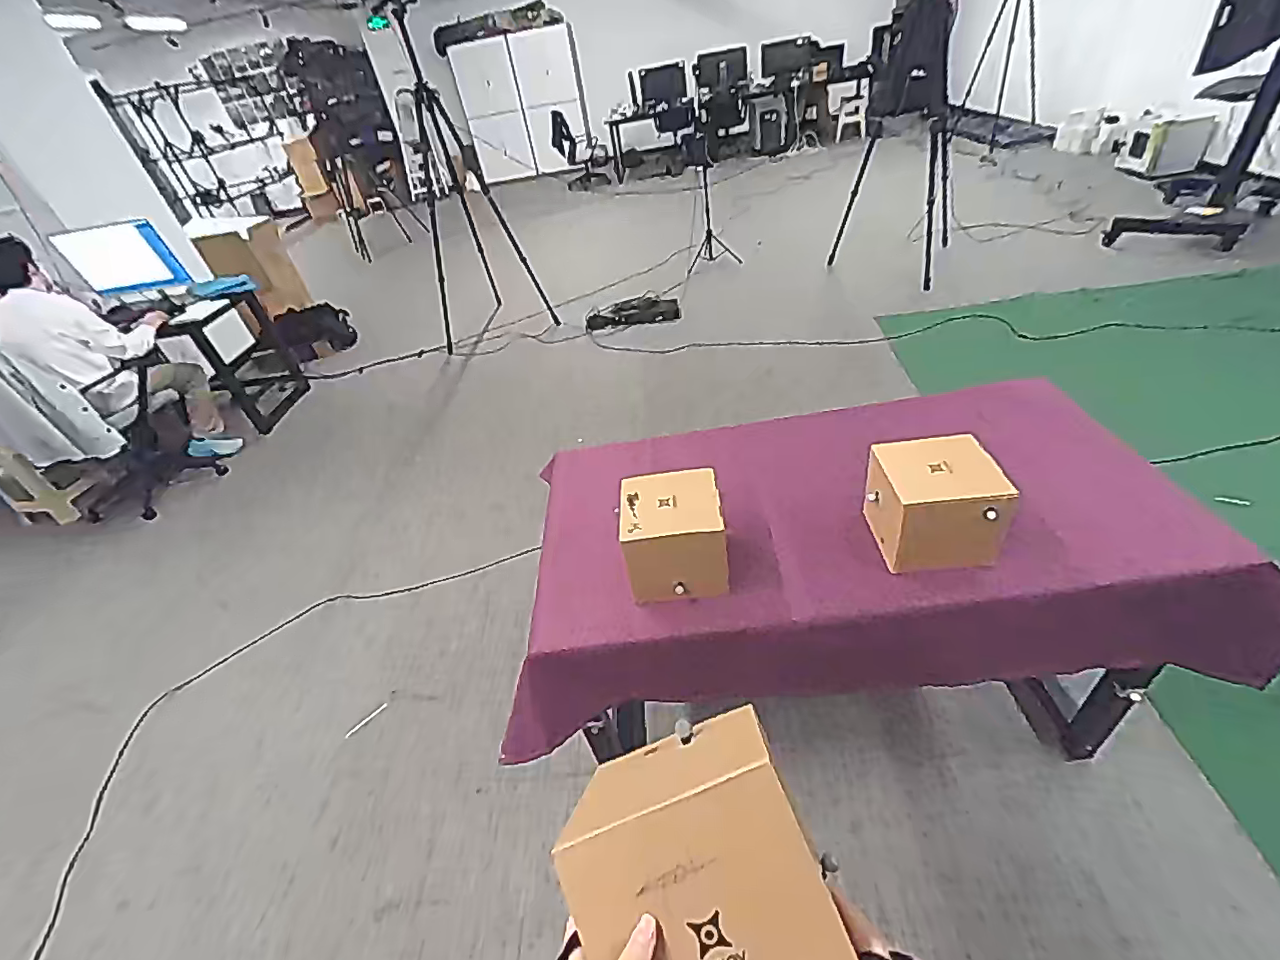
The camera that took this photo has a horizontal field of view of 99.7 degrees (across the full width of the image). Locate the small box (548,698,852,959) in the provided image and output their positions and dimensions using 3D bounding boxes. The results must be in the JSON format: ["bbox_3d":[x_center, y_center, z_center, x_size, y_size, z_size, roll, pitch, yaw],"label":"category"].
[{"bbox_3d":[0.052,0.304,0.434,0.168,0.176,0.179,-24,78,3],"label":"small box"}]

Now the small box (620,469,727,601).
[{"bbox_3d":[0.065,0.102,0.988,0.179,0.176,0.168,-7,38,6],"label":"small box"}]

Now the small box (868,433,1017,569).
[{"bbox_3d":[0.511,0.040,0.947,0.179,0.176,0.168,-6,39,7],"label":"small box"}]
